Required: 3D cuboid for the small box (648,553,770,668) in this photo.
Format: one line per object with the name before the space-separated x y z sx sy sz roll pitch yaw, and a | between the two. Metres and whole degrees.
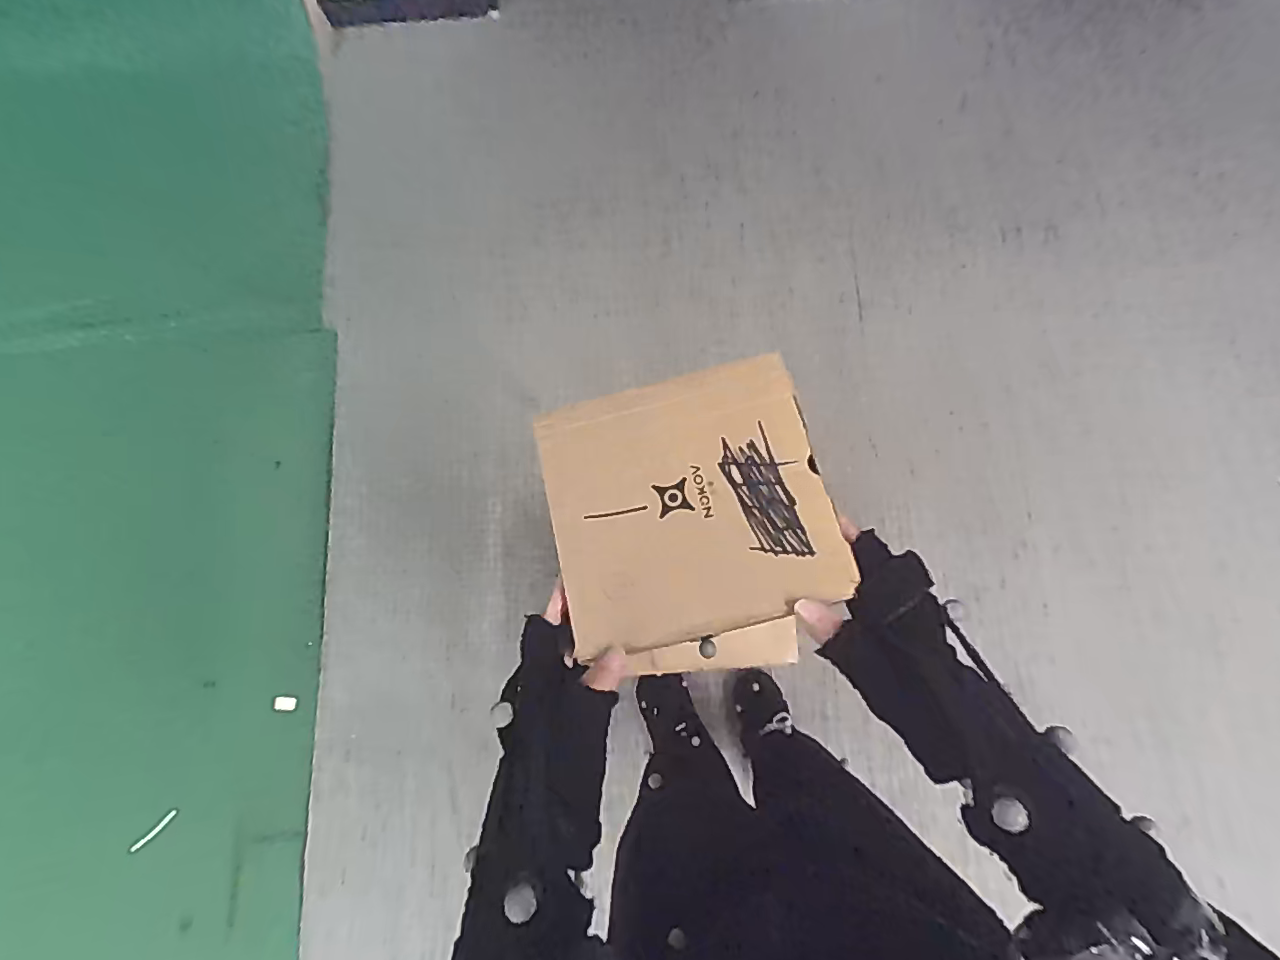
small box | 0.104 0.206 0.878 0.179 0.176 0.168 -2 82 0
